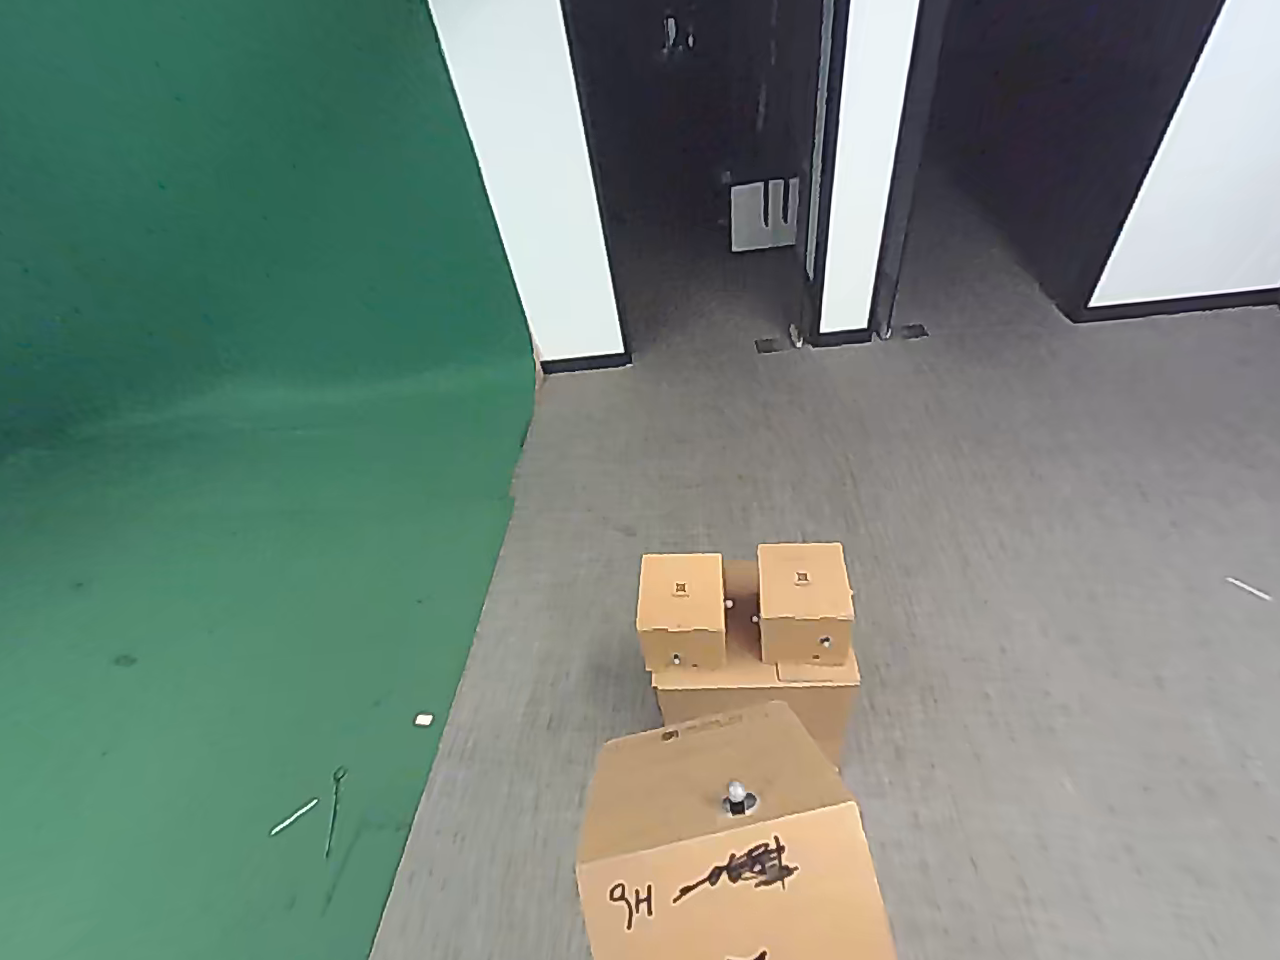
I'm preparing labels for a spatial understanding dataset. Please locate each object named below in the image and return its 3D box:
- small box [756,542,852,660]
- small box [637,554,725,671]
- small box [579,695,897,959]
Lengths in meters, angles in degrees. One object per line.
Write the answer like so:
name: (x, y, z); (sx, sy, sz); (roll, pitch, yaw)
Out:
small box: (0.322, 0.244, 1.085); (0.168, 0.176, 0.179); (-2, 43, 11)
small box: (0.088, 0.270, 1.110); (0.168, 0.176, 0.179); (-2, 46, 7)
small box: (0.065, 0.282, 0.384); (0.168, 0.176, 0.179); (-14, 86, 0)
